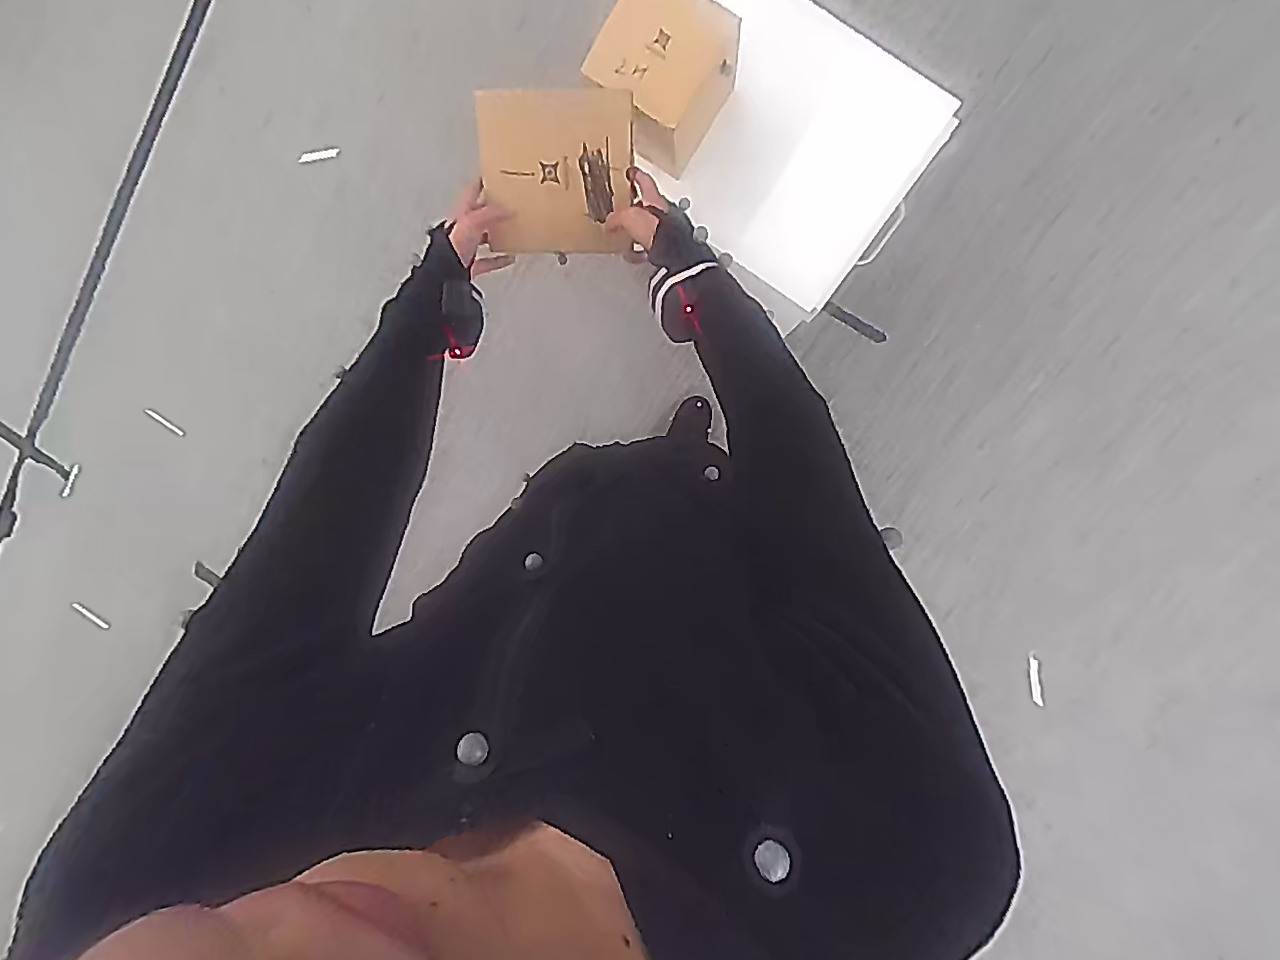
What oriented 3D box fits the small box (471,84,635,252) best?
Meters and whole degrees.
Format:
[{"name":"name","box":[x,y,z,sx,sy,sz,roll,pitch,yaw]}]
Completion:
[{"name":"small box","box":[-0.095,-0.380,0.683,0.179,0.176,0.168,1,113,1]}]

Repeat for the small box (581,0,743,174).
[{"name":"small box","box":[0.036,-0.622,0.833,0.168,0.176,0.179,34,101,2]}]
